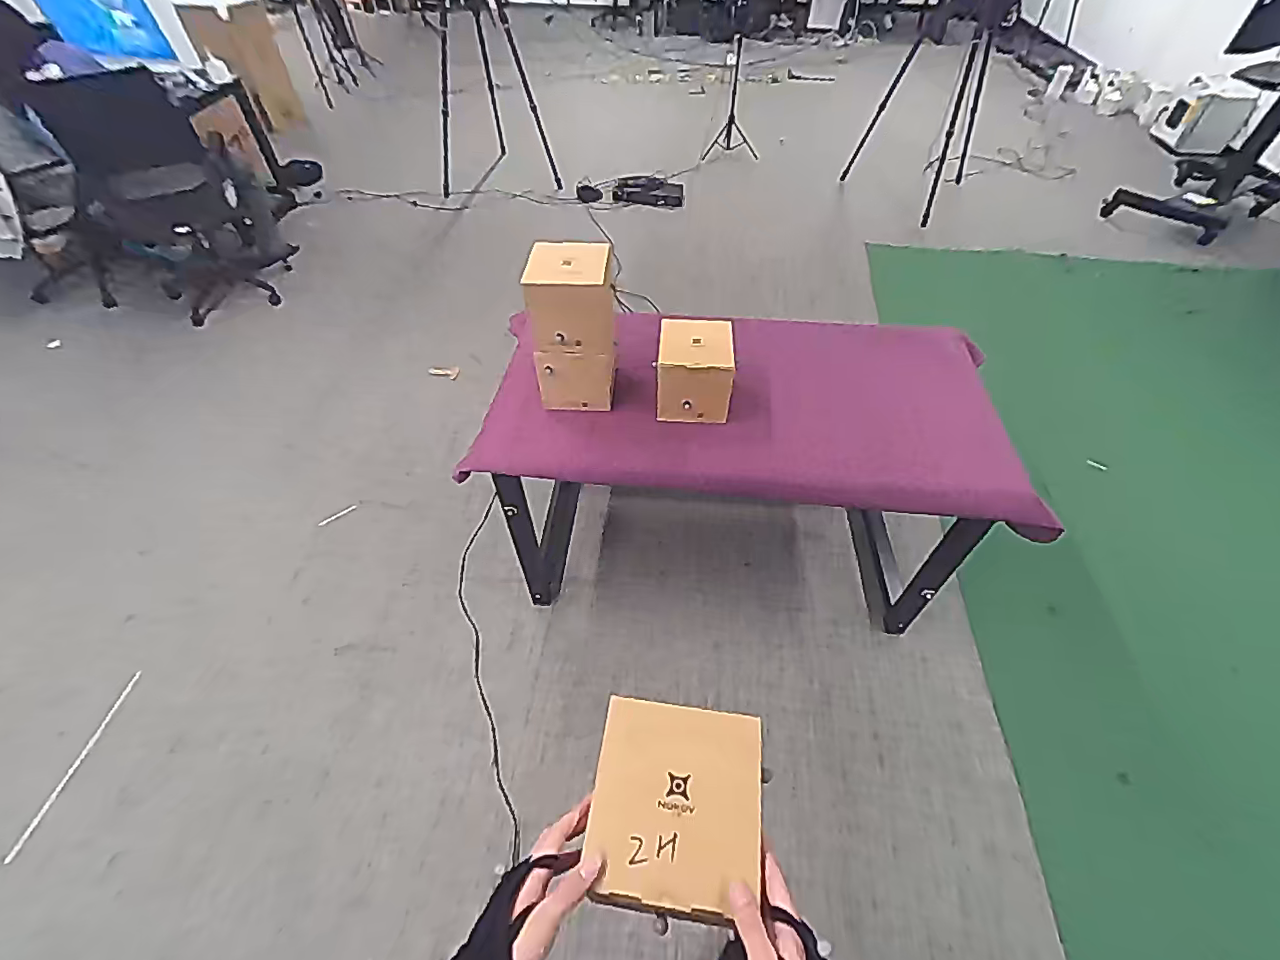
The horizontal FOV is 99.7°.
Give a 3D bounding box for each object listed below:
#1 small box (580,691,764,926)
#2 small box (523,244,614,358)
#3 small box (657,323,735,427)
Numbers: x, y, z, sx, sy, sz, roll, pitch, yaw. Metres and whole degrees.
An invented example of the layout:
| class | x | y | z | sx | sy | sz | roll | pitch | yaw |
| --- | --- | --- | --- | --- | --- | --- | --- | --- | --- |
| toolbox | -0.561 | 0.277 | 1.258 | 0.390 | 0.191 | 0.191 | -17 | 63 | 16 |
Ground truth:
| class | x | y | z | sx | sy | sz | roll | pitch | yaw |
| --- | --- | --- | --- | --- | --- | --- | --- | --- | --- |
| small box | 0.038 | 0.361 | 0.594 | 0.168 | 0.176 | 0.179 | 7 | 49 | 7 |
| small box | -0.147 | -0.390 | 1.177 | 0.168 | 0.176 | 0.179 | 3 | 49 | 2 |
| small box | 0.129 | -0.248 | 1.277 | 0.168 | 0.176 | 0.179 | 3 | 50 | 2 |
